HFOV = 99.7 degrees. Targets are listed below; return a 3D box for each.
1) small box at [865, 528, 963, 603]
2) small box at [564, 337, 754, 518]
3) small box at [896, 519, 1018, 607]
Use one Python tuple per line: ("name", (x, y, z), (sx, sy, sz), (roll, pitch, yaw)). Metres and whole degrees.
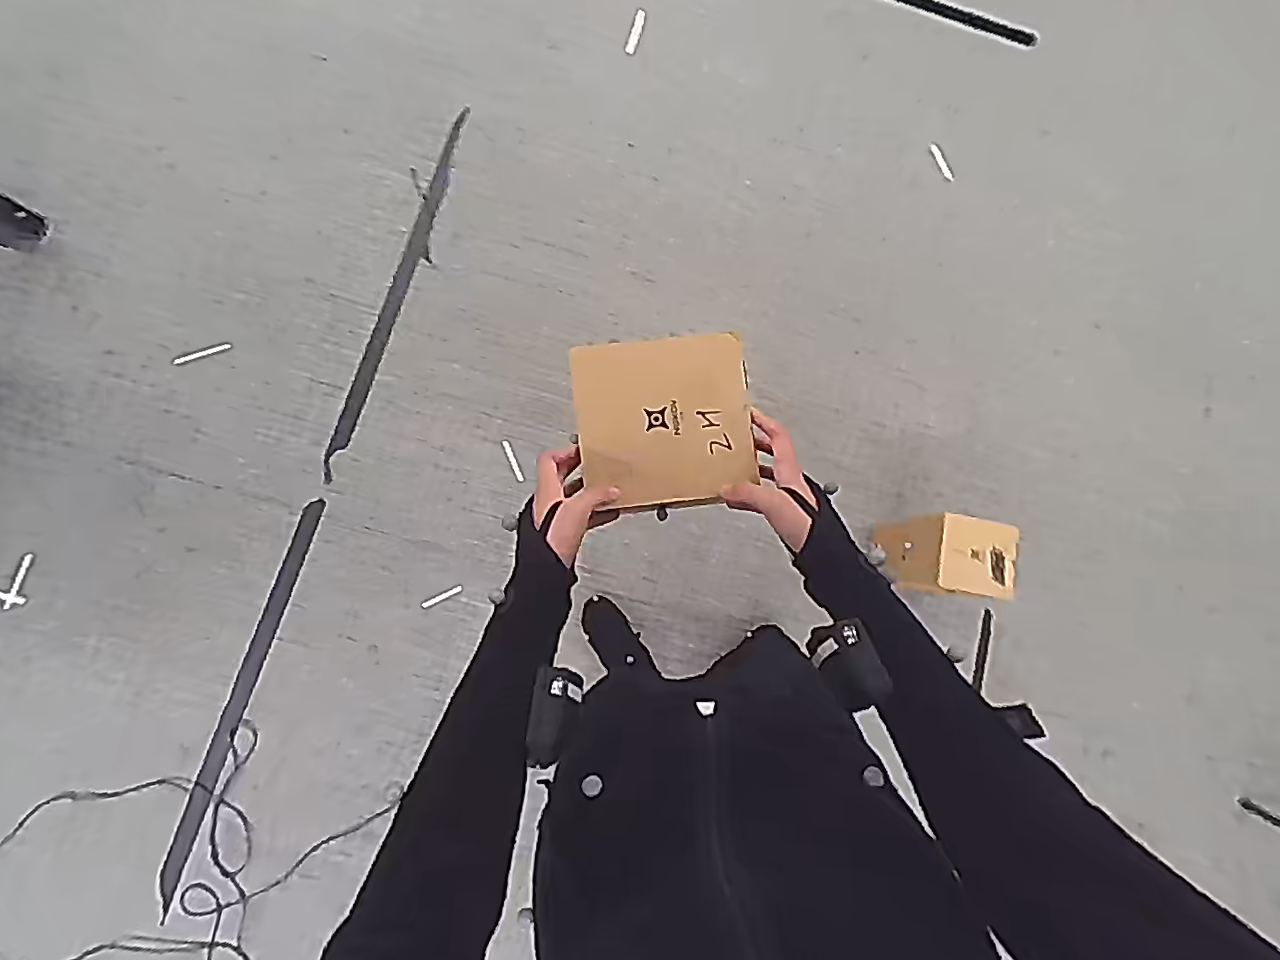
("small box", (0.727, 0.222, 1.429), (0.179, 0.176, 0.168), (10, 81, -3))
("small box", (0.017, -0.047, 0.613), (0.179, 0.176, 0.168), (-6, 85, -2))
("small box", (0.737, 0.192, 1.268), (0.179, 0.176, 0.168), (12, 81, -2))
